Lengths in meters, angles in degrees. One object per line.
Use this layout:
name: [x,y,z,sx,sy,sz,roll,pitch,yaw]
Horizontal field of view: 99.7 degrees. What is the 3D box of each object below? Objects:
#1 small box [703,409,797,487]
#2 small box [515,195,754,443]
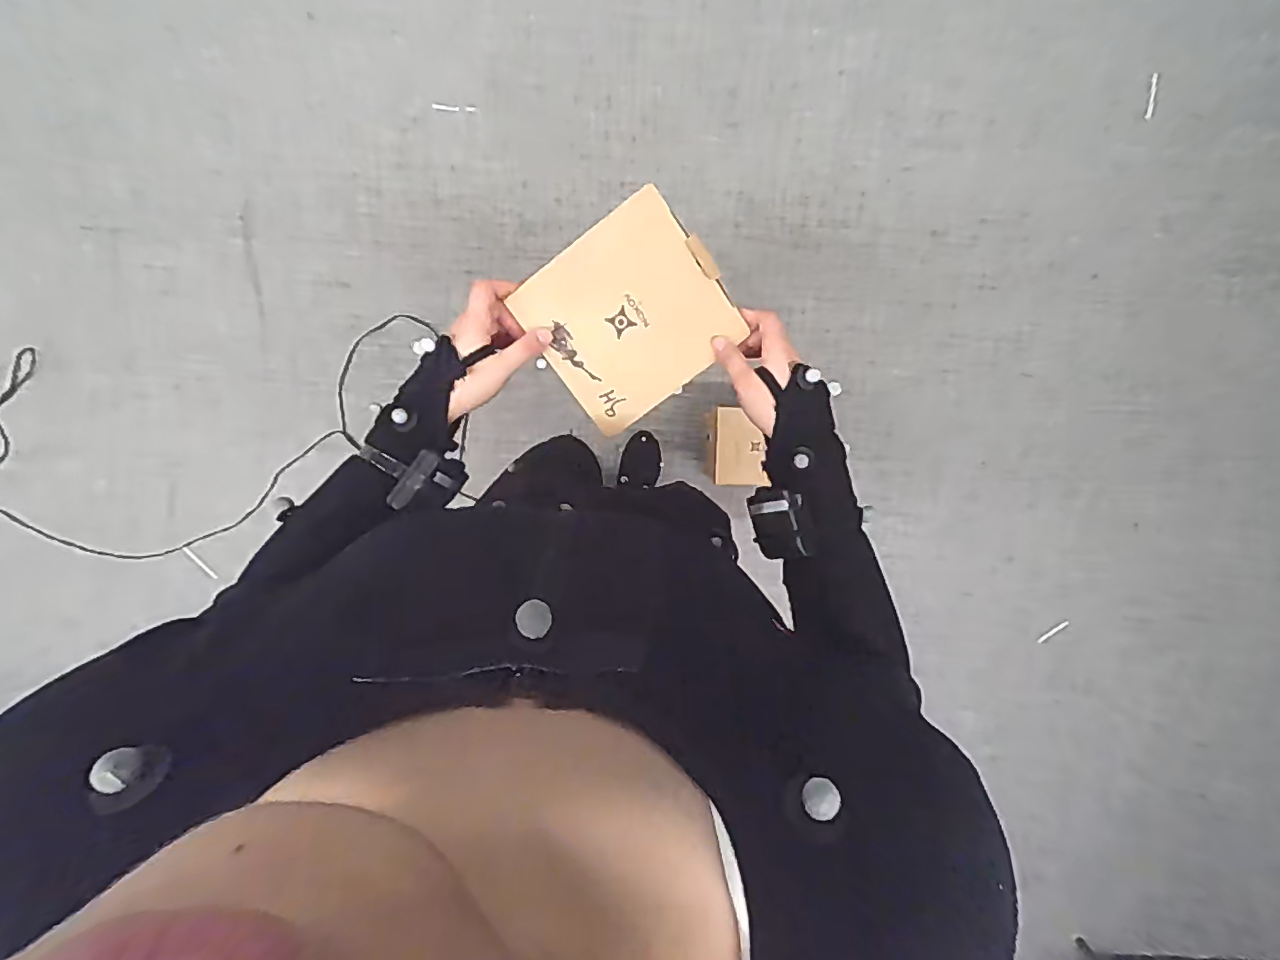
small box: [0.243,-0.077,1.229,0.179,0.176,0.168,1,96,1]
small box: [-0.007,-0.167,0.590,0.179,0.176,0.168,-35,102,8]
